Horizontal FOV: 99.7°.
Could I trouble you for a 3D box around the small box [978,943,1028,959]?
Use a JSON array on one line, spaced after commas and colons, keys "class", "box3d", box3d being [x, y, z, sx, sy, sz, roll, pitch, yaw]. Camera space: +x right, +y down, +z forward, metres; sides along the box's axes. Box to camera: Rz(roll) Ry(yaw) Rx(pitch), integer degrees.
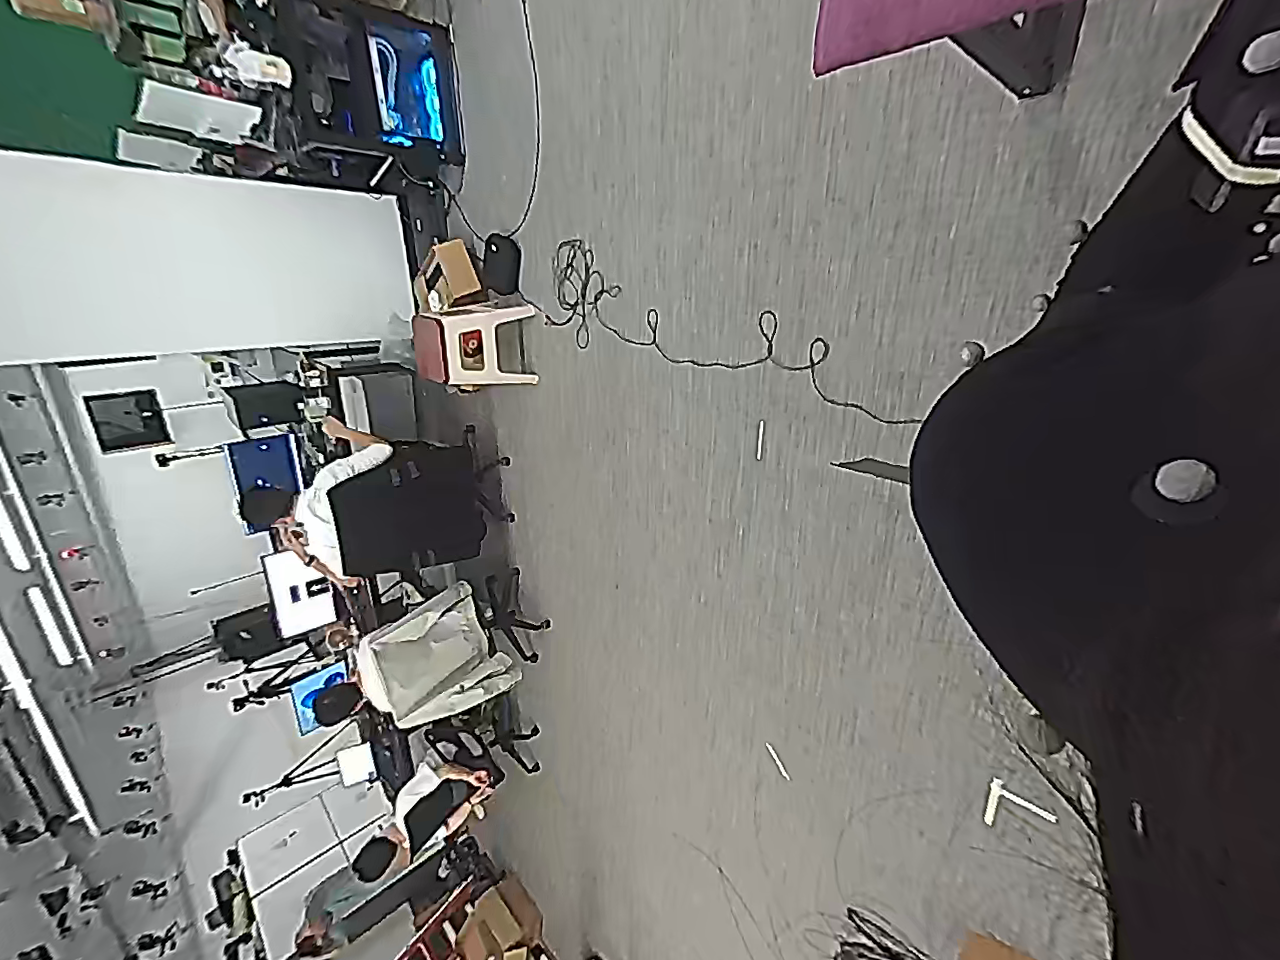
[{"class": "small box", "box3d": [1.105, 1.534, 1.594, 0.179, 0.176, 0.168, -16, 92, 51]}]
